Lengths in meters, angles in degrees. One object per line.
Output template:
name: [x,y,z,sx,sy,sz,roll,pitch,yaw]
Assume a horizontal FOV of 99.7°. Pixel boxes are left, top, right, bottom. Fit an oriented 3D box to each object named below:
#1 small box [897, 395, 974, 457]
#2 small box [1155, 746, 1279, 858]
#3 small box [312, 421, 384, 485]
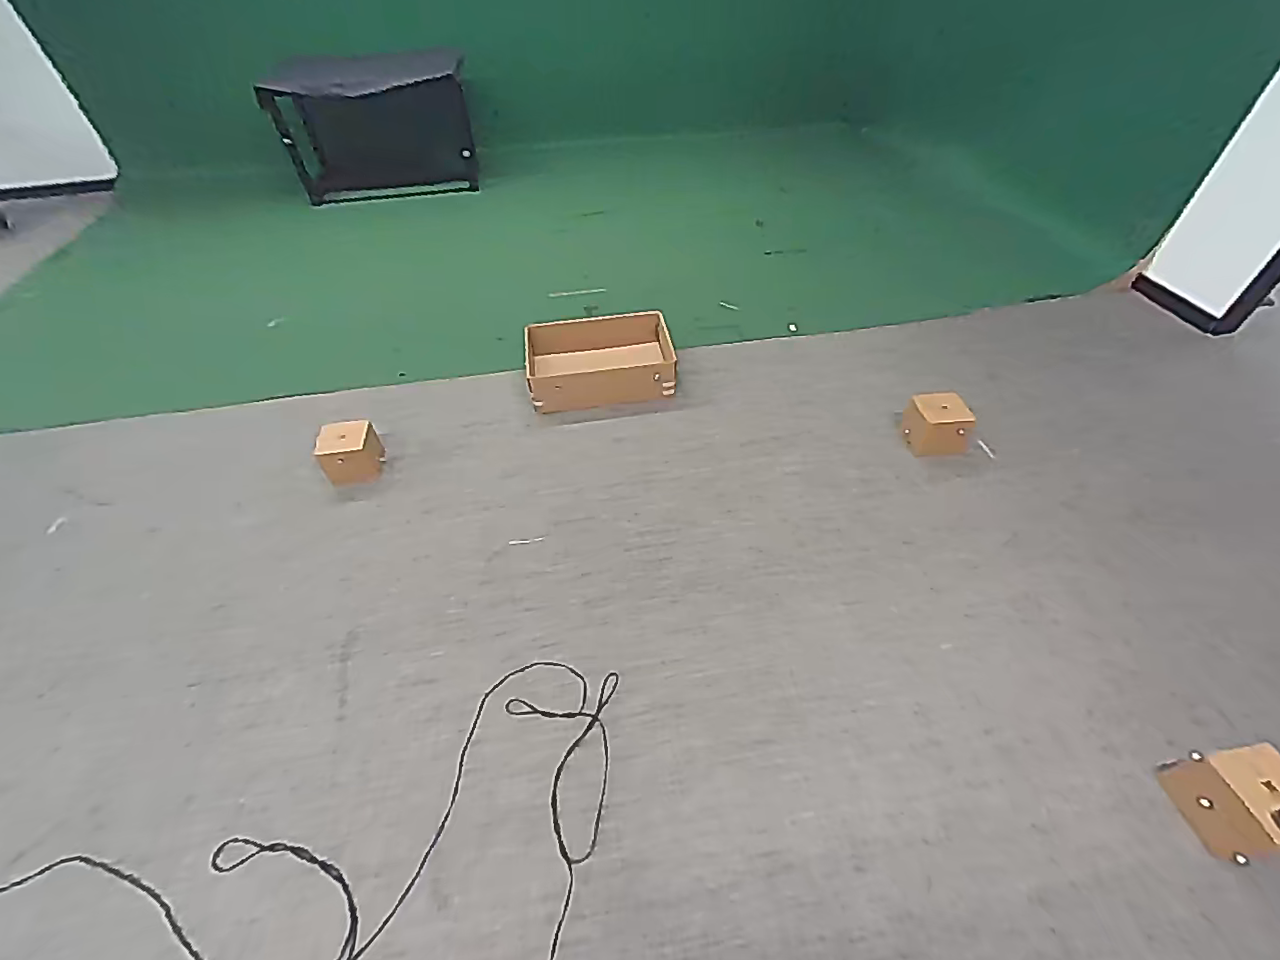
small box: [1.112,-0.202,2.049,0.179,0.176,0.168,-4,47,-1]
small box: [1.334,0.722,1.205,0.168,0.176,0.179,-8,47,-4]
small box: [-1.095,-0.099,2.041,0.179,0.176,0.168,-8,49,-7]
